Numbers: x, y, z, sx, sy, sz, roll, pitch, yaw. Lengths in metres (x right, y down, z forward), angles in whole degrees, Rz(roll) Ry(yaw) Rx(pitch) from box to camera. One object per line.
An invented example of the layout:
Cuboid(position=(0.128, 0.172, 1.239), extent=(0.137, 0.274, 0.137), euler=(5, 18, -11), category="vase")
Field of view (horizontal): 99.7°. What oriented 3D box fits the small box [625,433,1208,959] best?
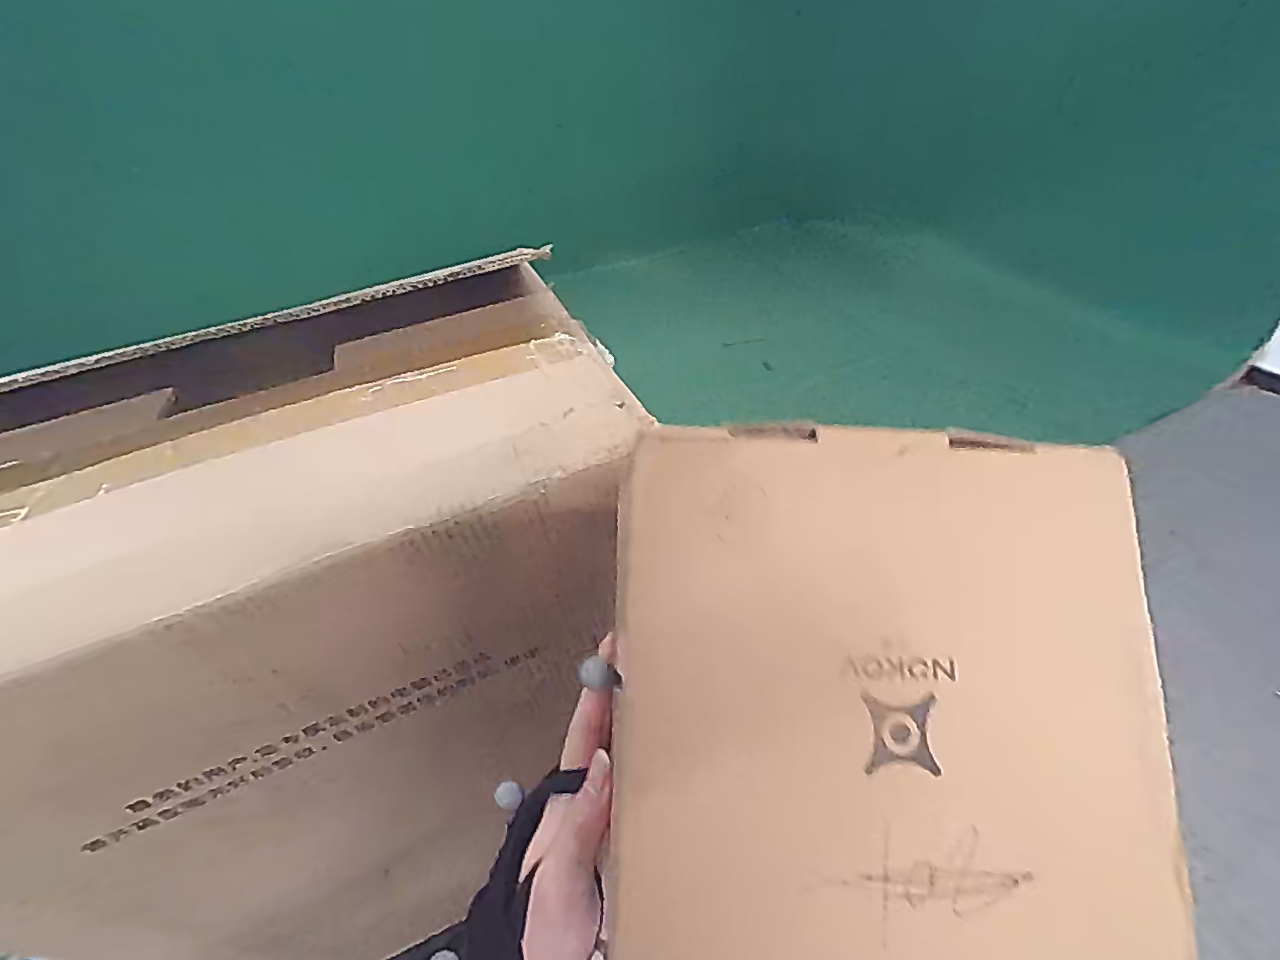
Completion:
Cuboid(position=(0.079, 0.087, 0.245), extent=(0.168, 0.176, 0.179), euler=(1, 79, -3), category="small box")
